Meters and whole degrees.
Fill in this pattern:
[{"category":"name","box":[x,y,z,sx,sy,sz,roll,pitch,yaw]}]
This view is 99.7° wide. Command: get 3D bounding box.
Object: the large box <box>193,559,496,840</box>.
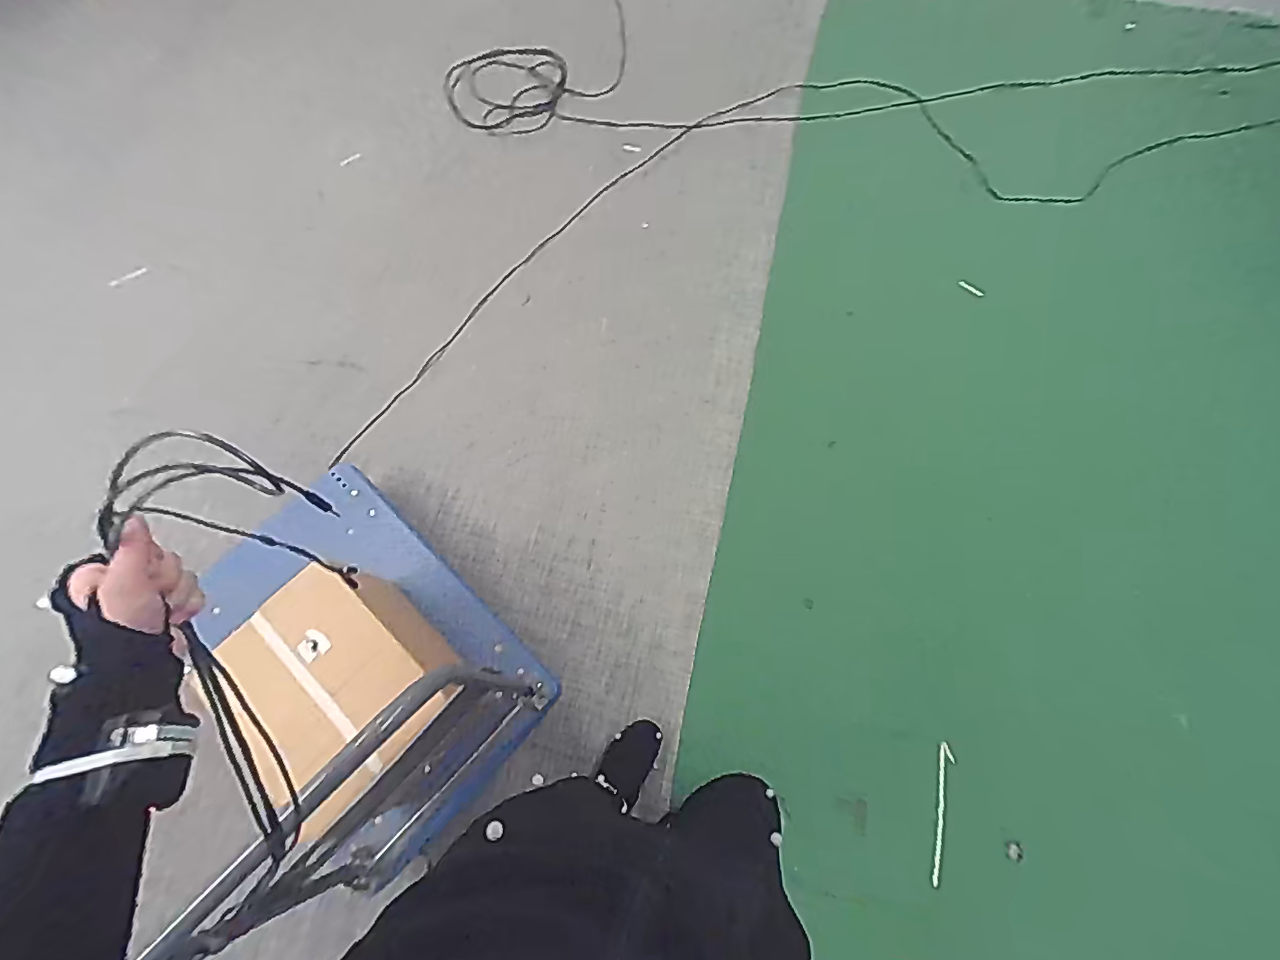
[{"category":"large box","box":[-0.580,0.433,1.131,0.408,0.320,0.320,40,75,15]}]
